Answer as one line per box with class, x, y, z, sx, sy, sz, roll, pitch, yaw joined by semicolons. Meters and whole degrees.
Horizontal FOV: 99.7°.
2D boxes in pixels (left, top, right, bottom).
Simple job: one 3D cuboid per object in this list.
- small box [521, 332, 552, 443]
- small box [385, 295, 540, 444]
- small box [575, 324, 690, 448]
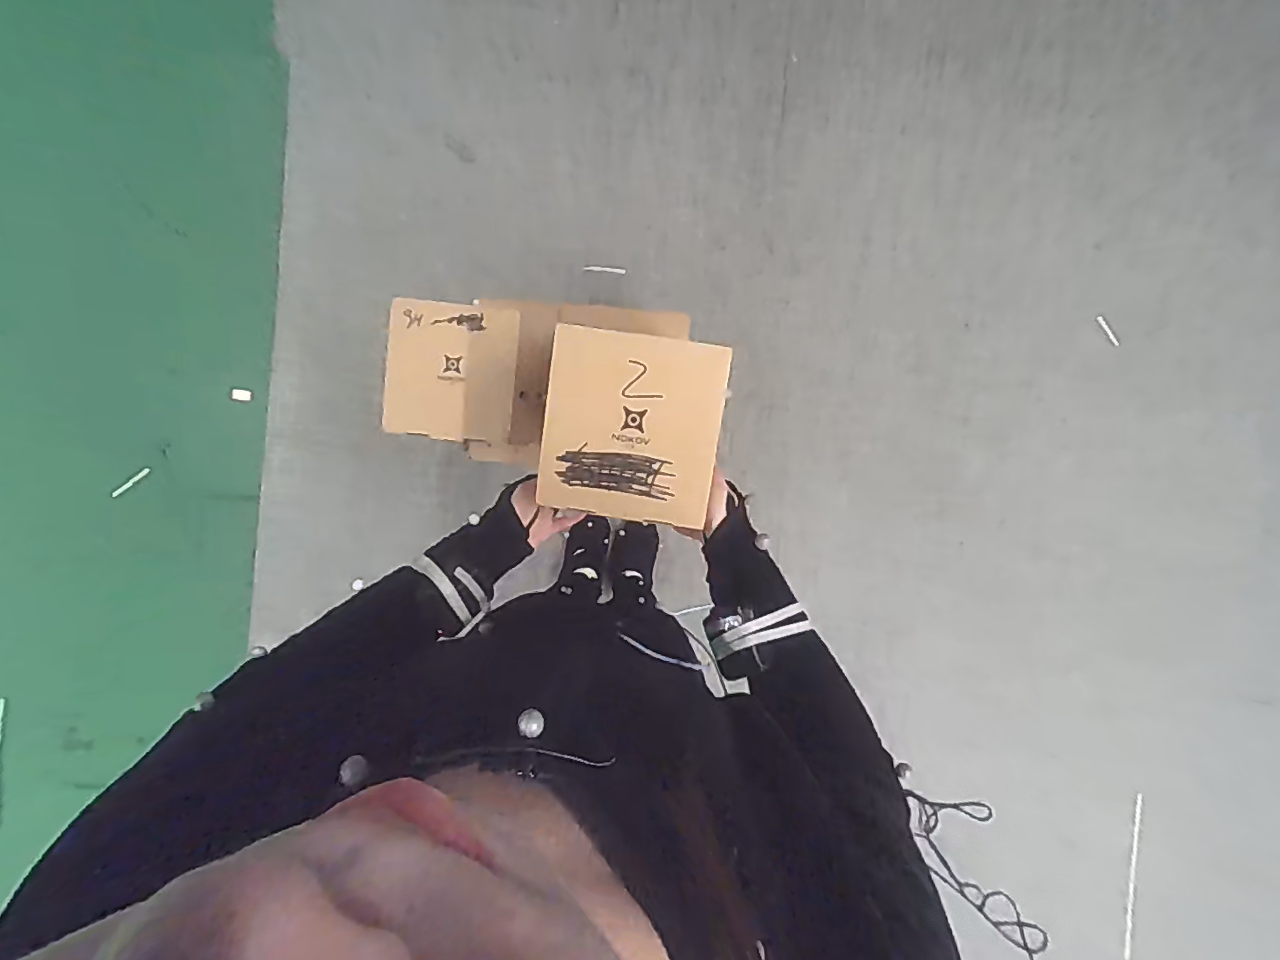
small box;-0.248;-0.160;0.939;0.168;0.176;0.179;5;93;-2
small box;-0.243;-0.147;0.775;0.168;0.176;0.179;6;94;-2
small box;-0.011;-0.153;0.943;0.168;0.176;0.179;8;91;-1
